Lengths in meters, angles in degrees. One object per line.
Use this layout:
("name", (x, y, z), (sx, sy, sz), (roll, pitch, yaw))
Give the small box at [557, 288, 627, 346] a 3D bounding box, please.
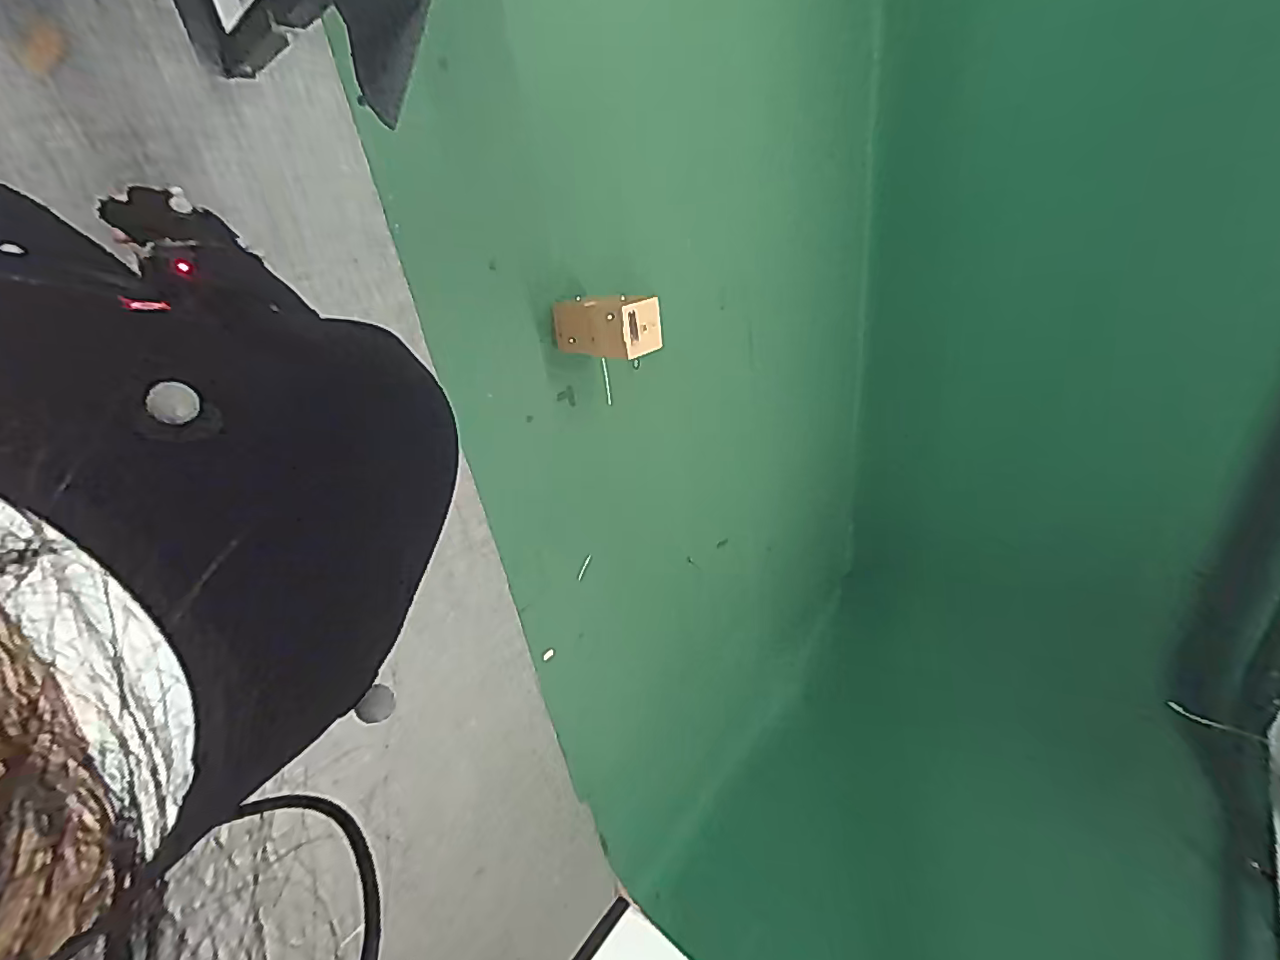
("small box", (-0.170, -0.562, 1.859), (0.179, 0.176, 0.168), (-28, 123, -40))
